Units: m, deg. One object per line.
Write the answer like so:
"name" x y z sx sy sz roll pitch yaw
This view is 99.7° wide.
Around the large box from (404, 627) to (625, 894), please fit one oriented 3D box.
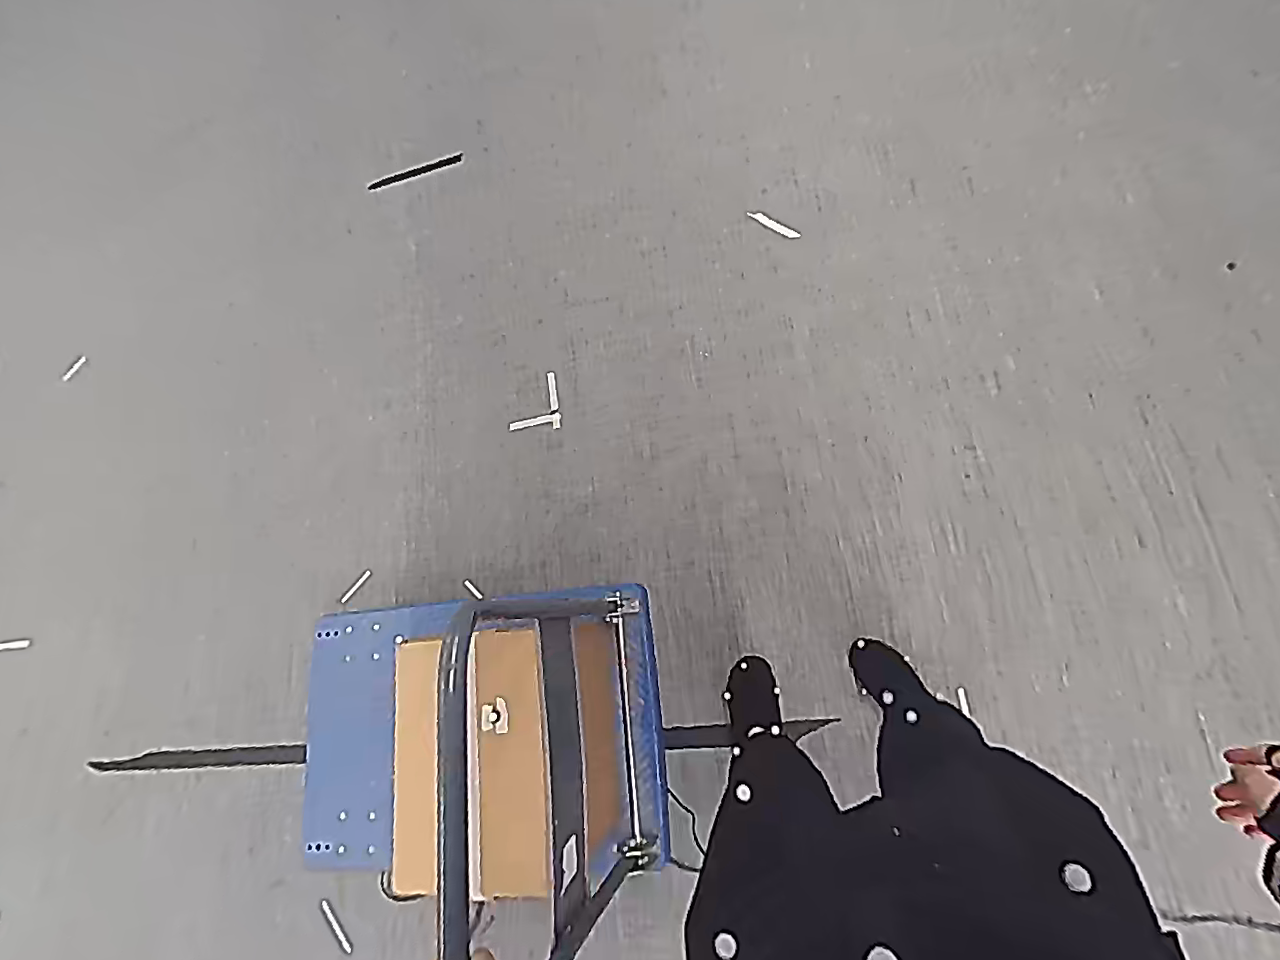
"large box" -0.232 0.512 1.062 0.320 0.320 0.408 -9 75 12
